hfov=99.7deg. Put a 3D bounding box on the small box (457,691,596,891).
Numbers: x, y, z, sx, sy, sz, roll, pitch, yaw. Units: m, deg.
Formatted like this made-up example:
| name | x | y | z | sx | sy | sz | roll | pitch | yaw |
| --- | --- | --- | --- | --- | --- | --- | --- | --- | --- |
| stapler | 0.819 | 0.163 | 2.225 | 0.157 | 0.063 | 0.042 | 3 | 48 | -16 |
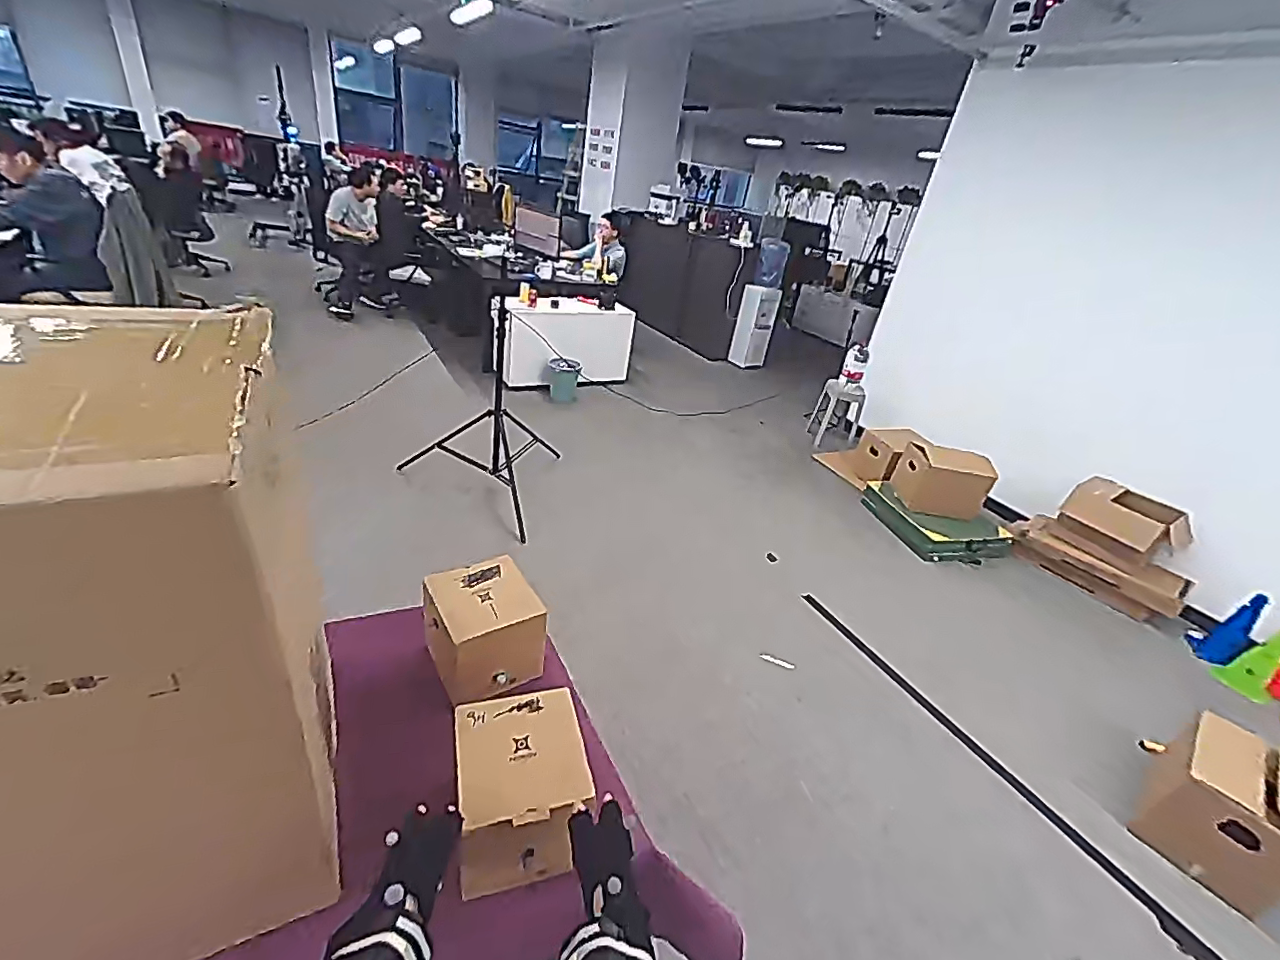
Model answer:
| name | x | y | z | sx | sy | sz | roll | pitch | yaw |
| --- | --- | --- | --- | --- | --- | --- | --- | --- | --- |
| small box | -0.165 | 0.431 | 0.752 | 0.168 | 0.176 | 0.179 | -1 | 31 | -20 |
